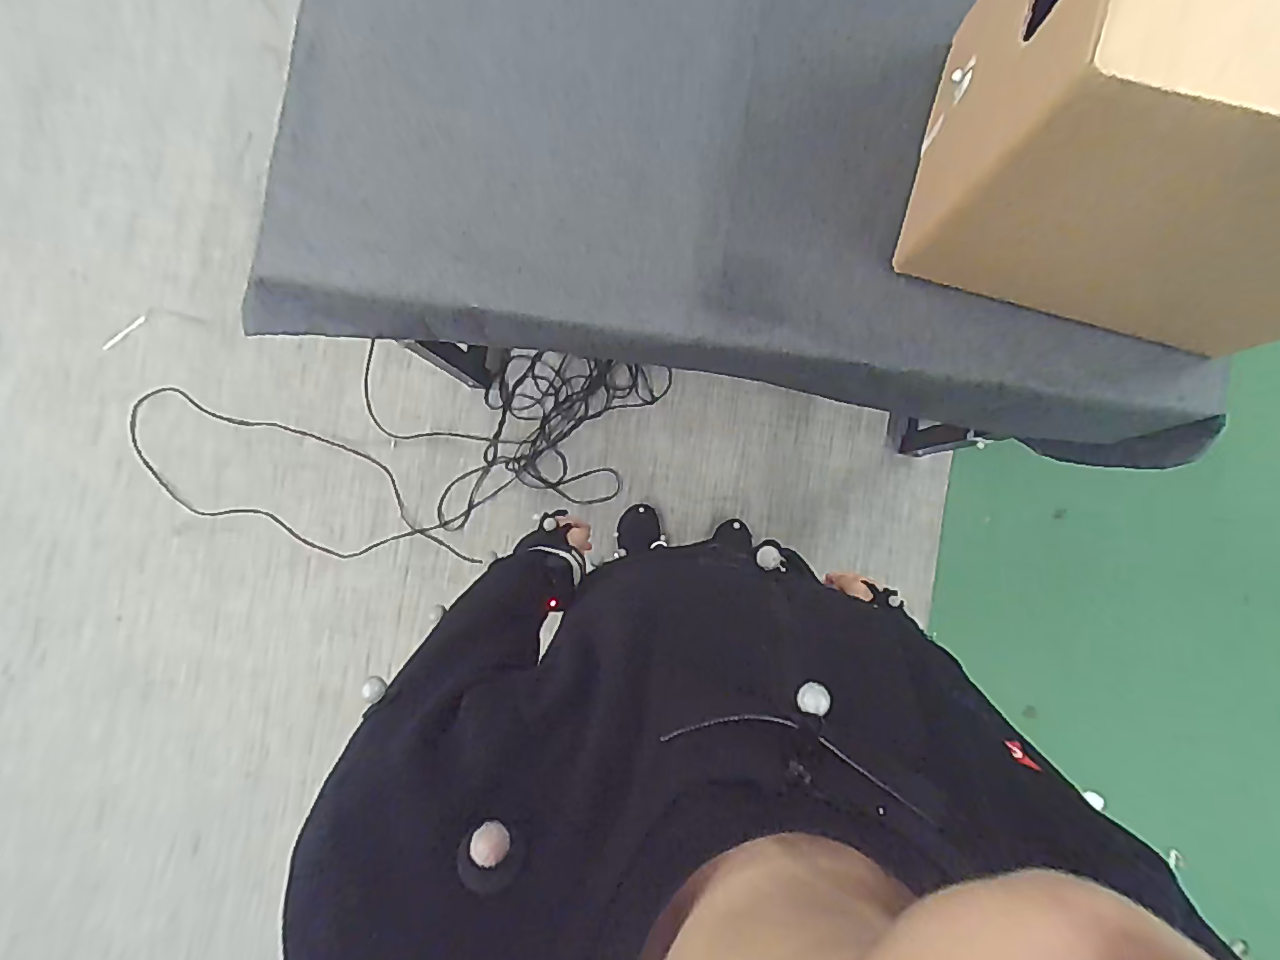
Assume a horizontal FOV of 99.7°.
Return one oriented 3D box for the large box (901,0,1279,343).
[{"bbox_3d":[0.536,-0.364,0.509,0.408,0.320,0.320,16,88,2],"label":"large box"}]
